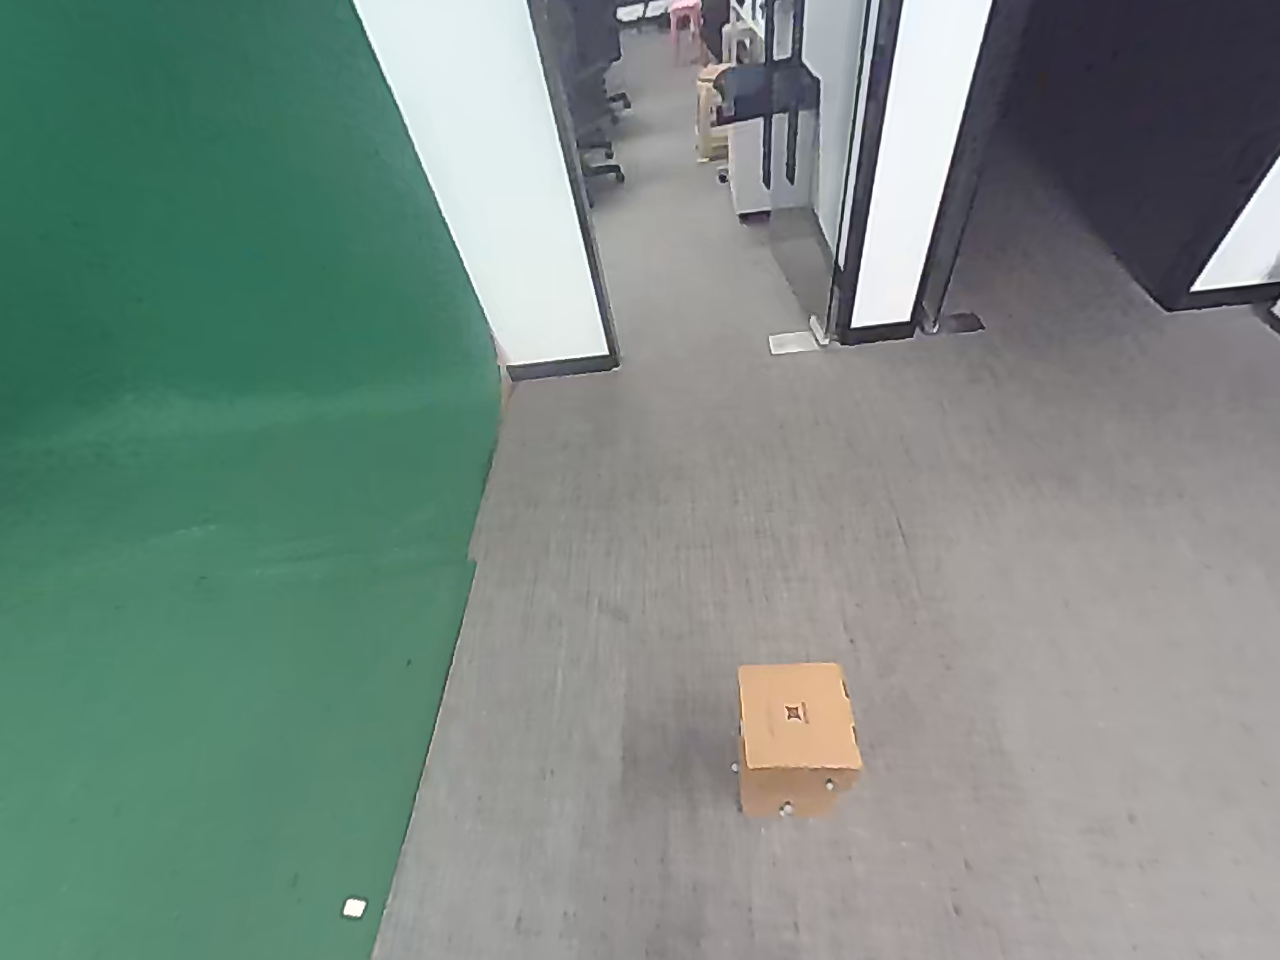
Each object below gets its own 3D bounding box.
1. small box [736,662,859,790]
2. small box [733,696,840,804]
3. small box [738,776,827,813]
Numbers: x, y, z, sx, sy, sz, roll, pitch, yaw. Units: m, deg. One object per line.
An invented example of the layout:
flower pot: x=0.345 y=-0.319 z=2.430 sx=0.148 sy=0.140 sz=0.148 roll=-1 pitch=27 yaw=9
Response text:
small box: x=0.263 y=0.430 z=0.943 sx=0.179 sy=0.176 sz=0.168 roll=-6 pitch=48 yaw=8
small box: x=0.280 y=0.534 z=1.071 sx=0.179 sy=0.176 sz=0.168 roll=-6 pitch=51 yaw=8
small box: x=0.306 y=0.628 z=1.199 sx=0.179 sy=0.176 sz=0.168 roll=-5 pitch=49 yaw=9
